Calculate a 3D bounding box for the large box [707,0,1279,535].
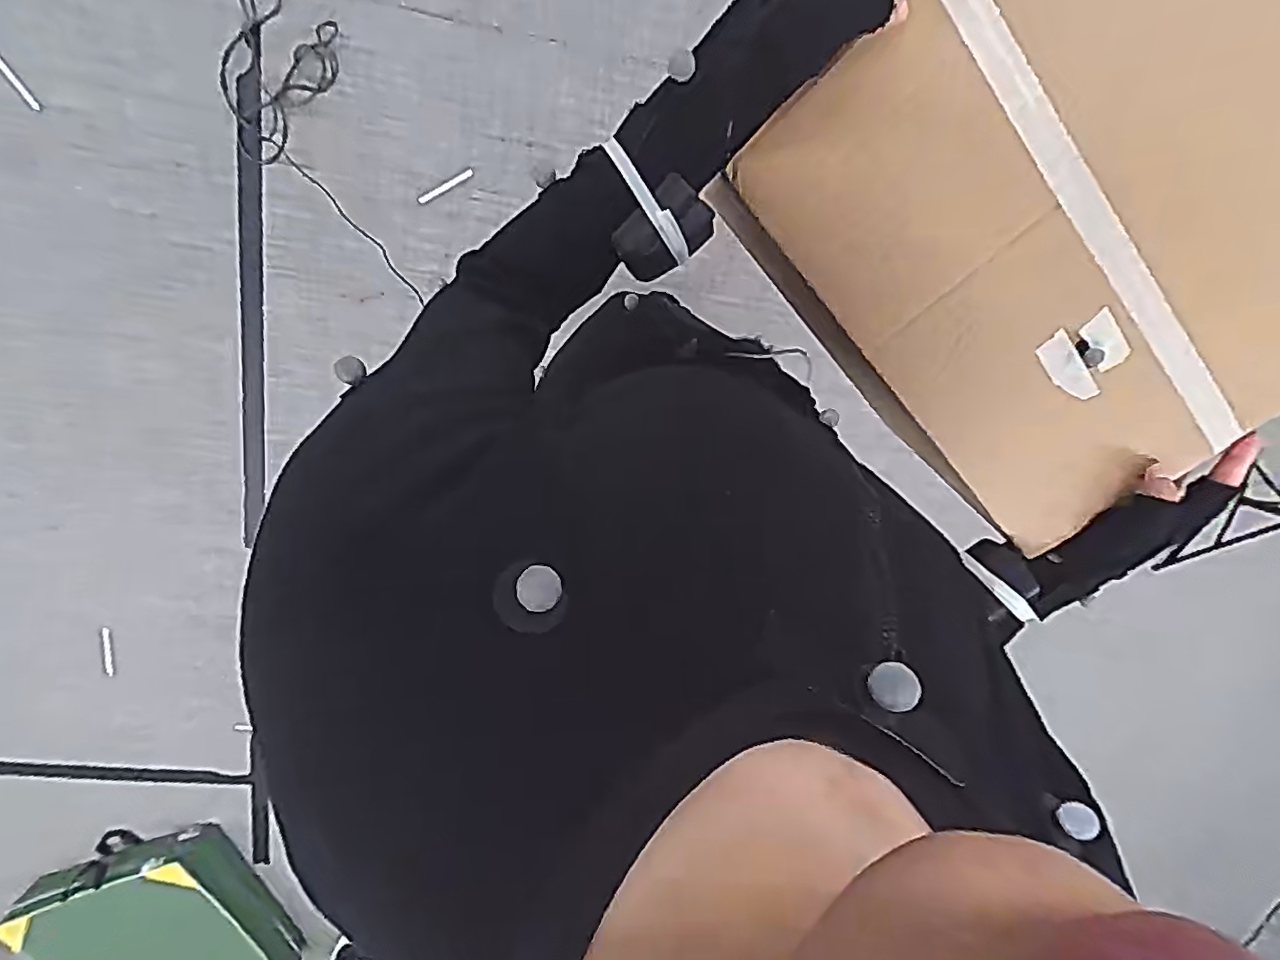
[{"bbox_3d":[0.311,-0.236,0.504,0.320,0.320,0.408,-39,107,21],"label":"large box"}]
